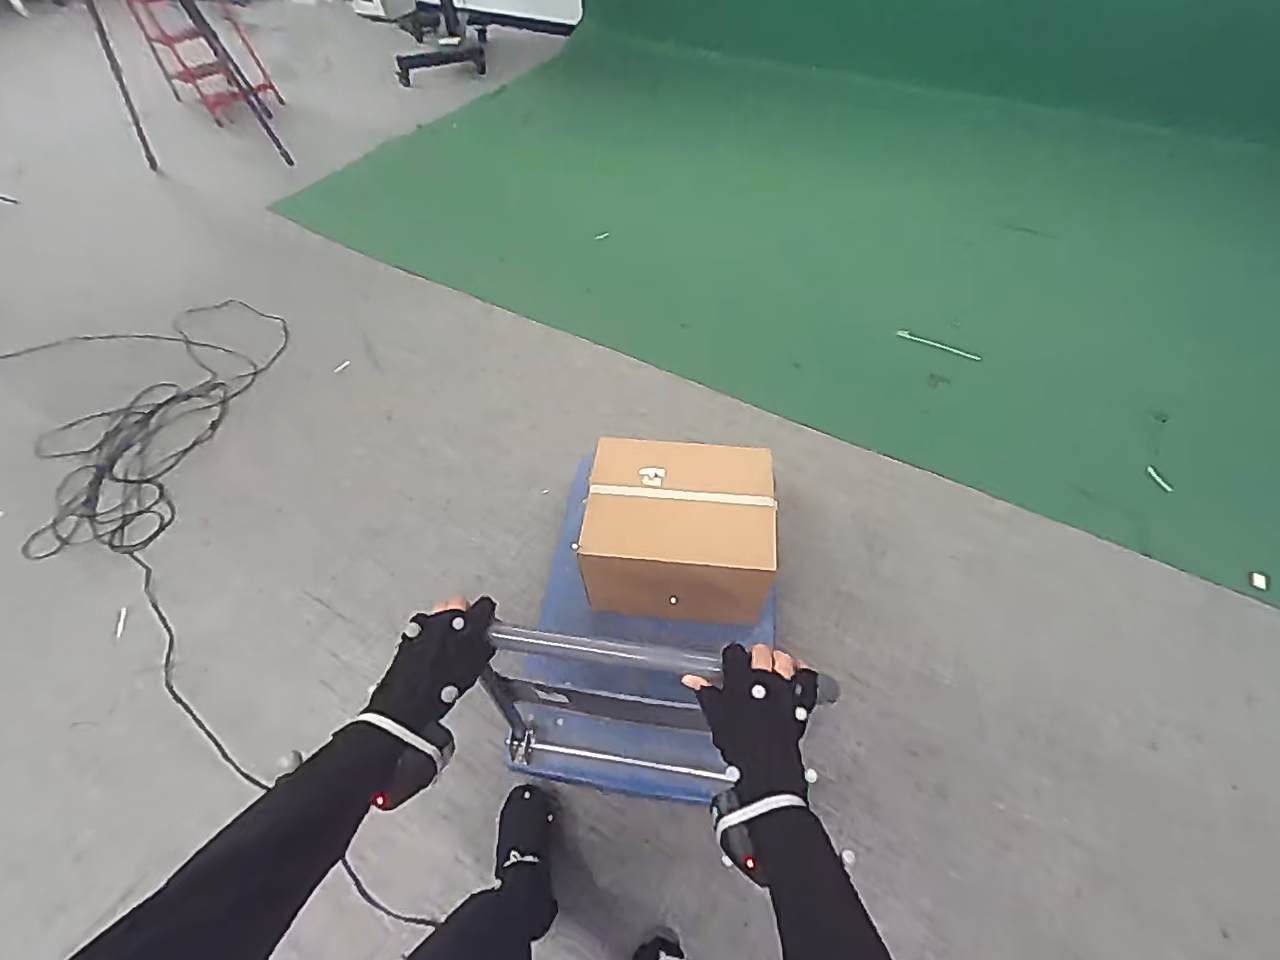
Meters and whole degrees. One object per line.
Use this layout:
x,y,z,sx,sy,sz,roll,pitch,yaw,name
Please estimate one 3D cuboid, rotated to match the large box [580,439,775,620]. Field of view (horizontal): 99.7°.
0.095,0.124,1.300,0.408,0.320,0.320,5,54,6,large box
